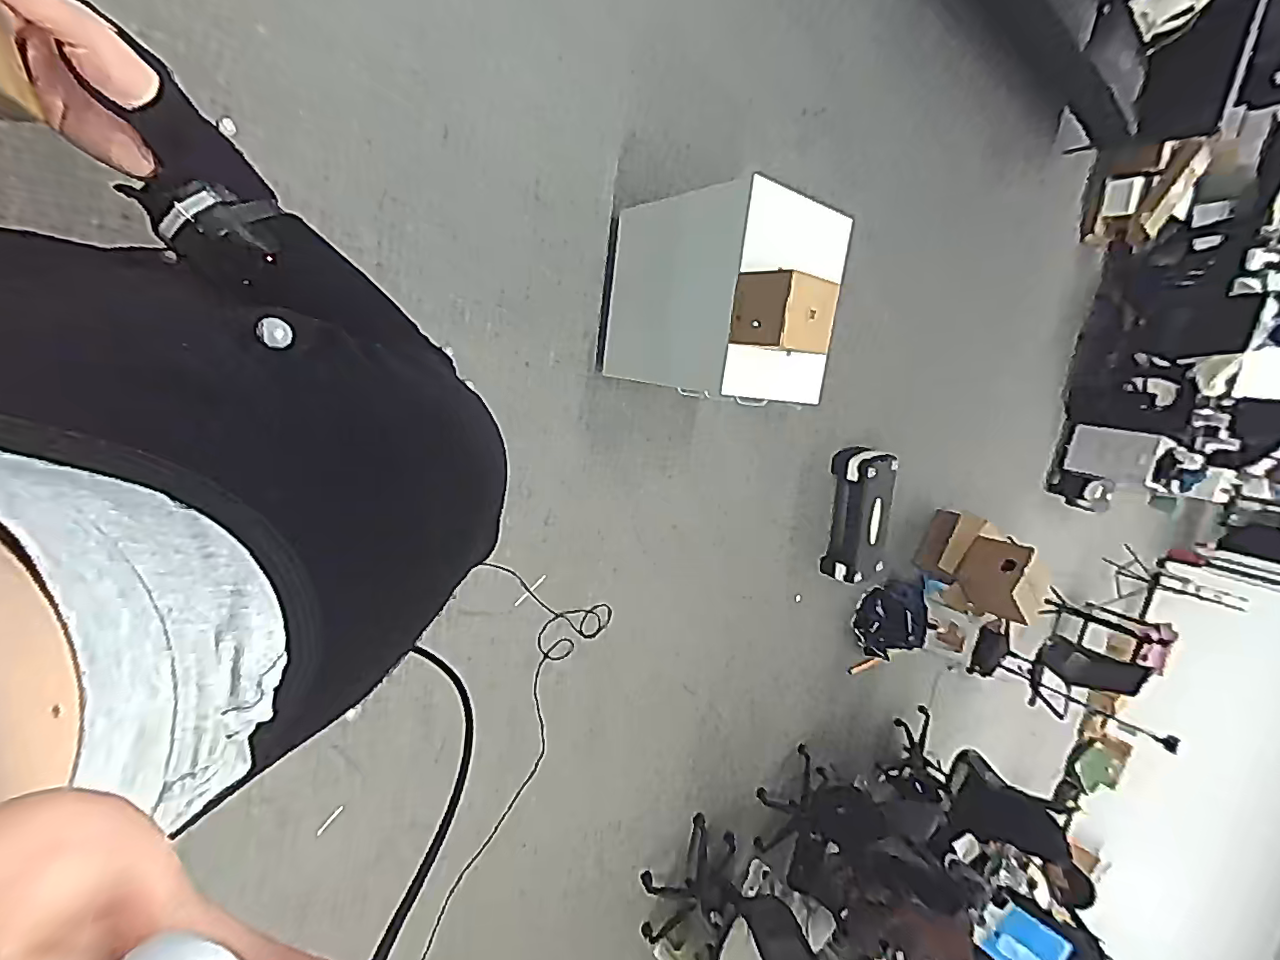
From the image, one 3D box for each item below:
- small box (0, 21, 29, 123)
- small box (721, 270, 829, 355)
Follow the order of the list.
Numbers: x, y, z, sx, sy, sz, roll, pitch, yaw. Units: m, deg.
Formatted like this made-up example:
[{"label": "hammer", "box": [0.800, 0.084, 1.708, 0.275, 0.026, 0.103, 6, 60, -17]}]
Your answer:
[{"label": "small box", "box": [-0.419, -0.271, 0.223, 0.168, 0.176, 0.179, -16, 119, -32]}, {"label": "small box", "box": [0.316, -0.393, 1.286, 0.179, 0.176, 0.168, -4, 107, -39]}]
